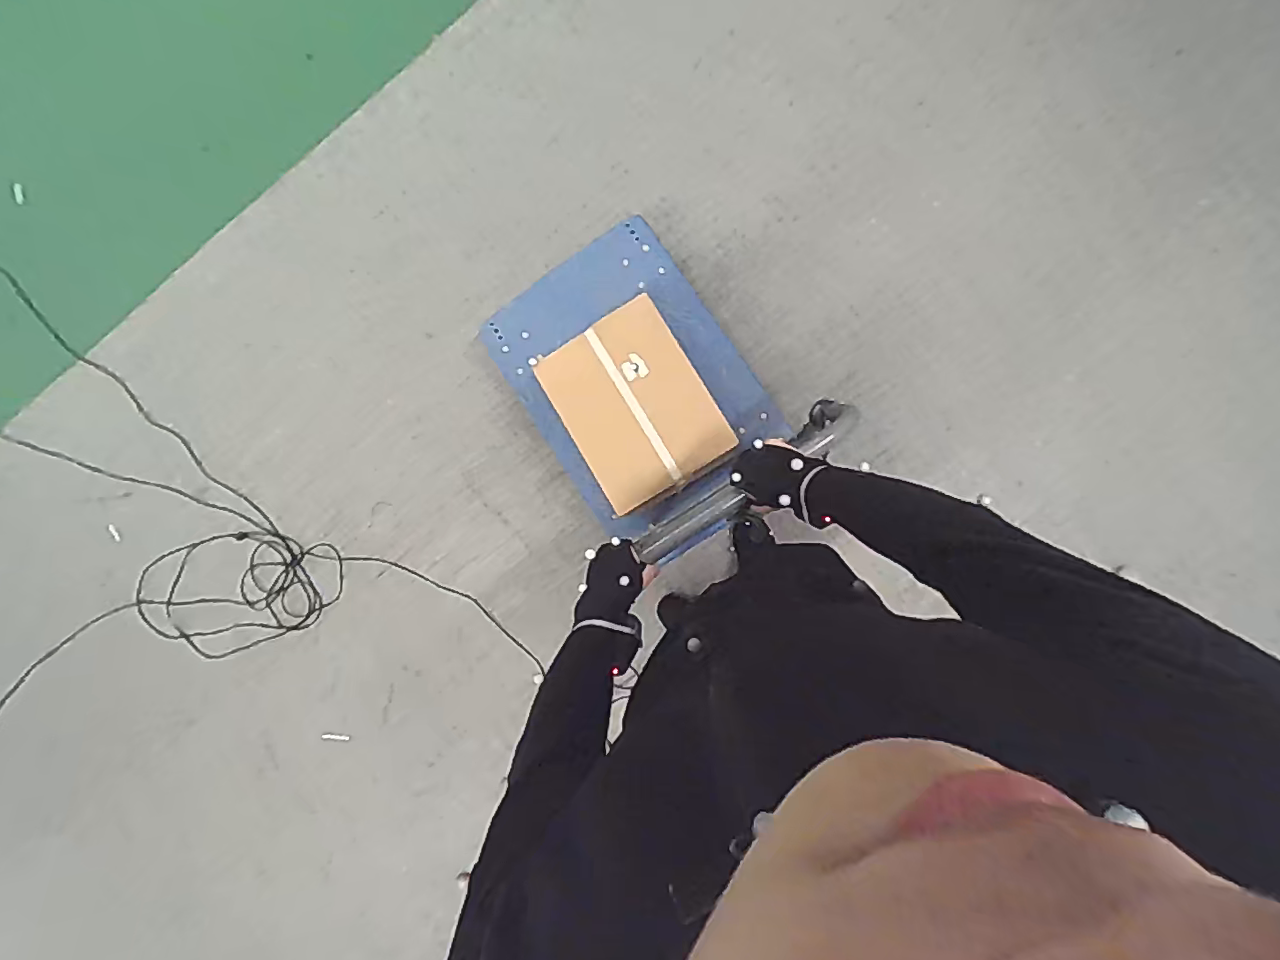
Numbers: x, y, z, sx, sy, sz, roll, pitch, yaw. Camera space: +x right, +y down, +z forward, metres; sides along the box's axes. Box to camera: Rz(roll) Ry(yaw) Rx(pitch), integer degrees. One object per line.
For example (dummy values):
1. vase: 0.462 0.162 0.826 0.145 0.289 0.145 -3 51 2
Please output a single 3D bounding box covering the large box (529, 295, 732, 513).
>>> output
1. large box: -0.005 -0.164 1.350 0.320 0.320 0.408 -32 83 5
